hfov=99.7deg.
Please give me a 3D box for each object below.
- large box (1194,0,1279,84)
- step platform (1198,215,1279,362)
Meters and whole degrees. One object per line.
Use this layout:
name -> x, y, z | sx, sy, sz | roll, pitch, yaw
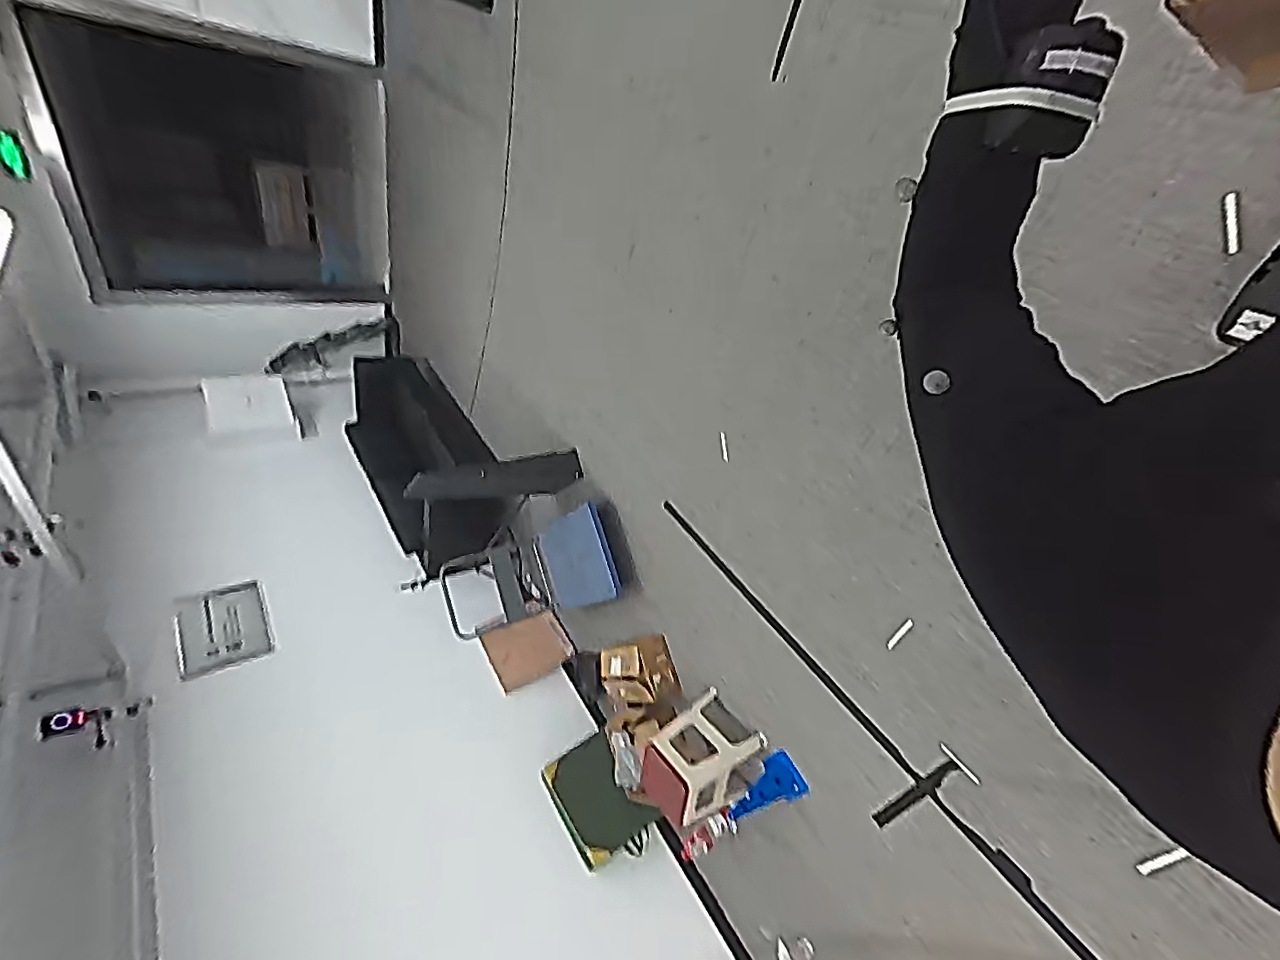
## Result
large box -> 0.538, -0.438, 0.213 | 0.408, 0.320, 0.320 | 13, 115, 51
step platform -> 1.361, -0.235, 0.850 | 0.684, 0.204, 0.286 | 47, 135, 37
